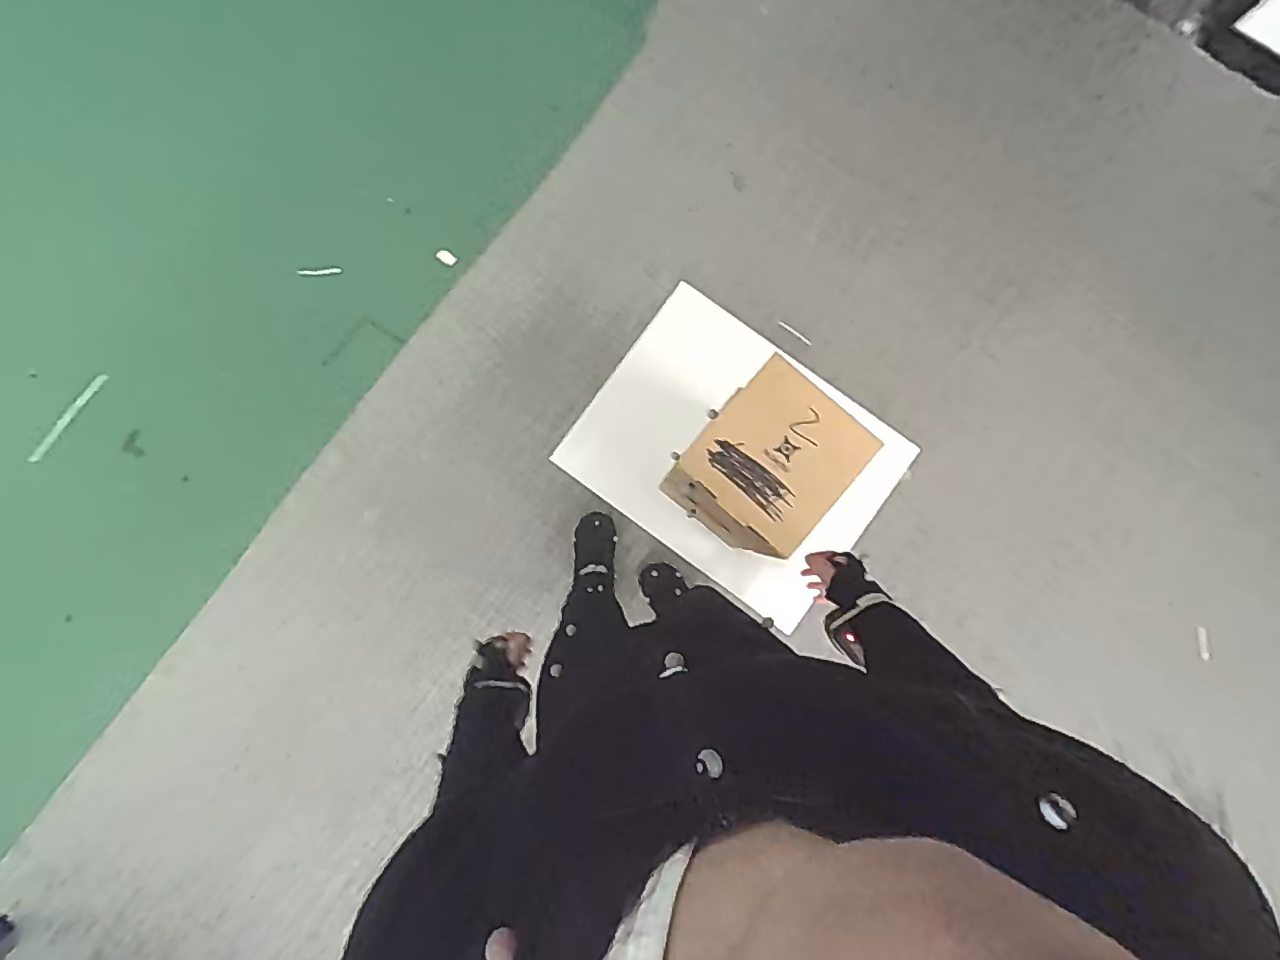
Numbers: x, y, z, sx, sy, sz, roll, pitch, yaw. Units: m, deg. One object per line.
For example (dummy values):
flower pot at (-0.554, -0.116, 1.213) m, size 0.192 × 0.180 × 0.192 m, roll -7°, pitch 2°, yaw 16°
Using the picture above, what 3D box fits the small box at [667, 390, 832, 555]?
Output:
small box at (0.152, -0.004, 0.828) m, size 0.168 × 0.176 × 0.179 m, roll 39°, pitch 85°, yaw 4°
